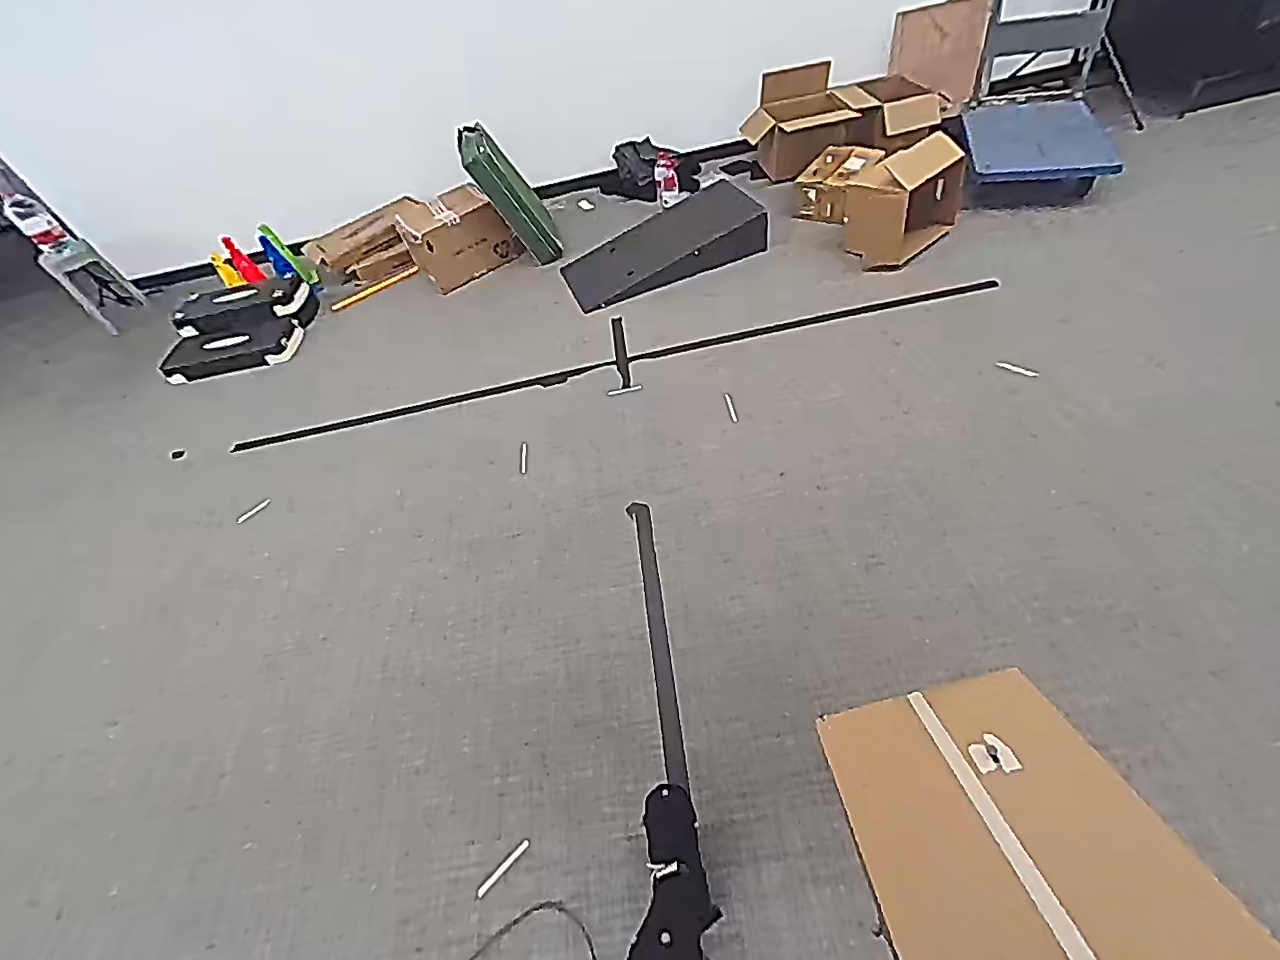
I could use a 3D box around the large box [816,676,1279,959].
[{"bbox_3d":[0.472,0.542,0.703,0.320,0.320,0.408,-17,17,8],"label":"large box"}]
